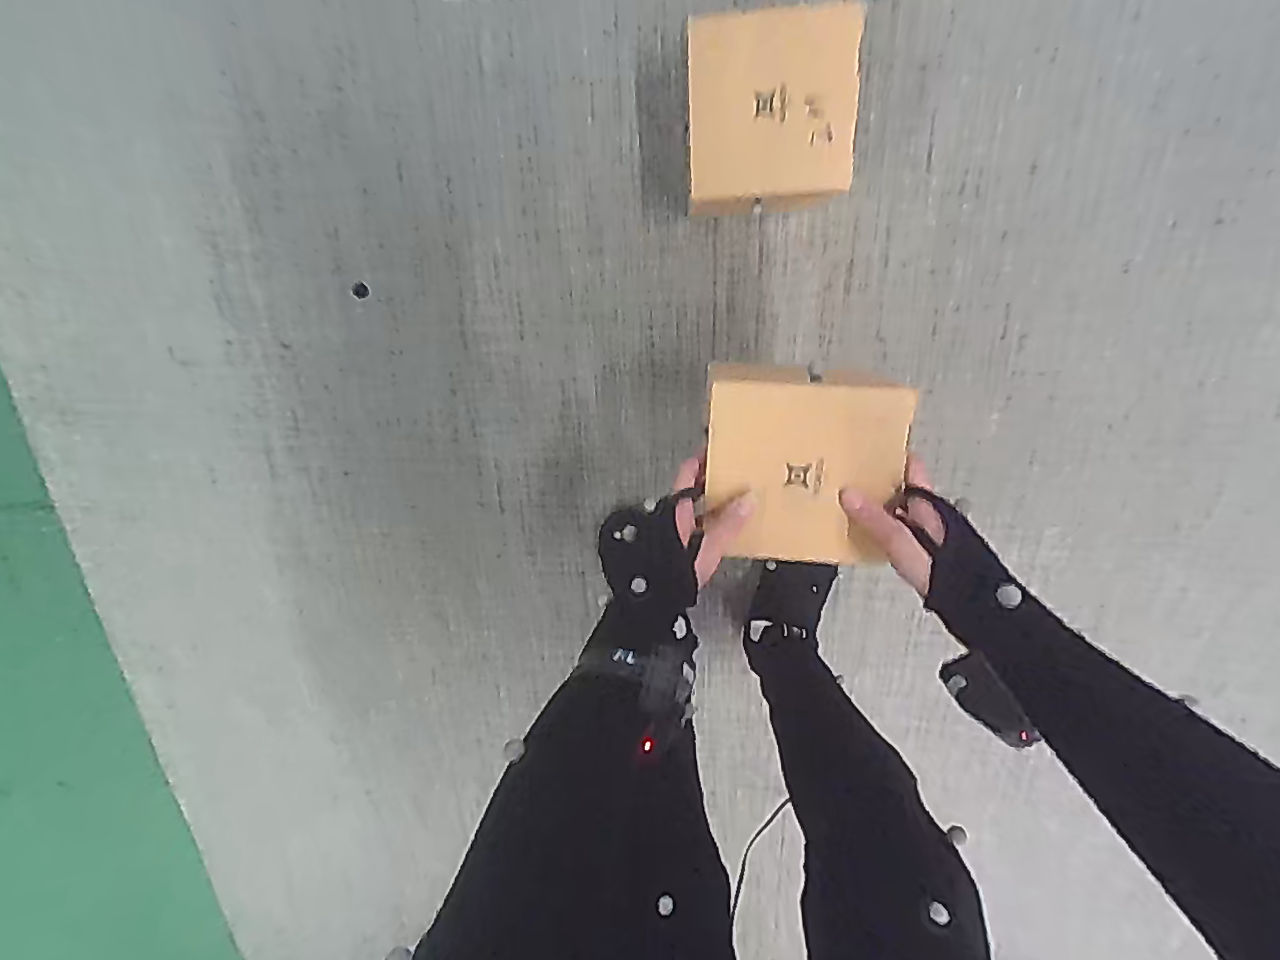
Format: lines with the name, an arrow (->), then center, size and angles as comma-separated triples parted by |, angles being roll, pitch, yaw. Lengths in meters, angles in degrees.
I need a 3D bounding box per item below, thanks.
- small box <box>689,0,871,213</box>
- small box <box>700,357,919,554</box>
small box -> 0.147, -0.415, 0.631 | 0.179, 0.176, 0.168 | -1, 109, 5
small box -> 0.154, -0.037, 0.562 | 0.179, 0.176, 0.168 | 3, 108, 4
